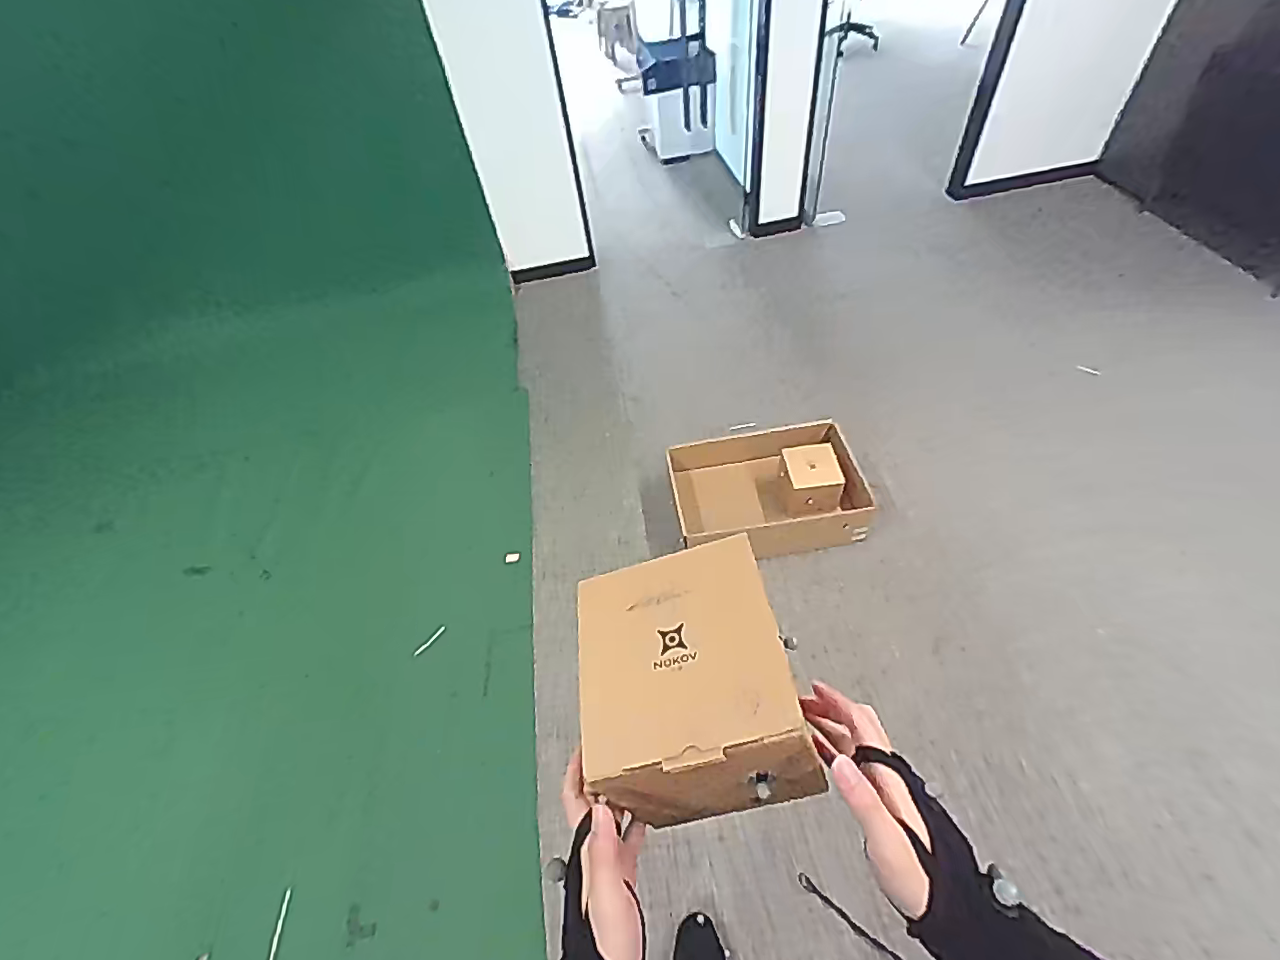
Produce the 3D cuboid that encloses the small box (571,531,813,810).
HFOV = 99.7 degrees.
[{"bbox_3d":[0.048,0.180,0.492,0.168,0.176,0.179,-17,43,10],"label":"small box"}]

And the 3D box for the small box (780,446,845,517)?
[{"bbox_3d":[0.577,0.012,1.829,0.168,0.176,0.179,-7,50,3],"label":"small box"}]
